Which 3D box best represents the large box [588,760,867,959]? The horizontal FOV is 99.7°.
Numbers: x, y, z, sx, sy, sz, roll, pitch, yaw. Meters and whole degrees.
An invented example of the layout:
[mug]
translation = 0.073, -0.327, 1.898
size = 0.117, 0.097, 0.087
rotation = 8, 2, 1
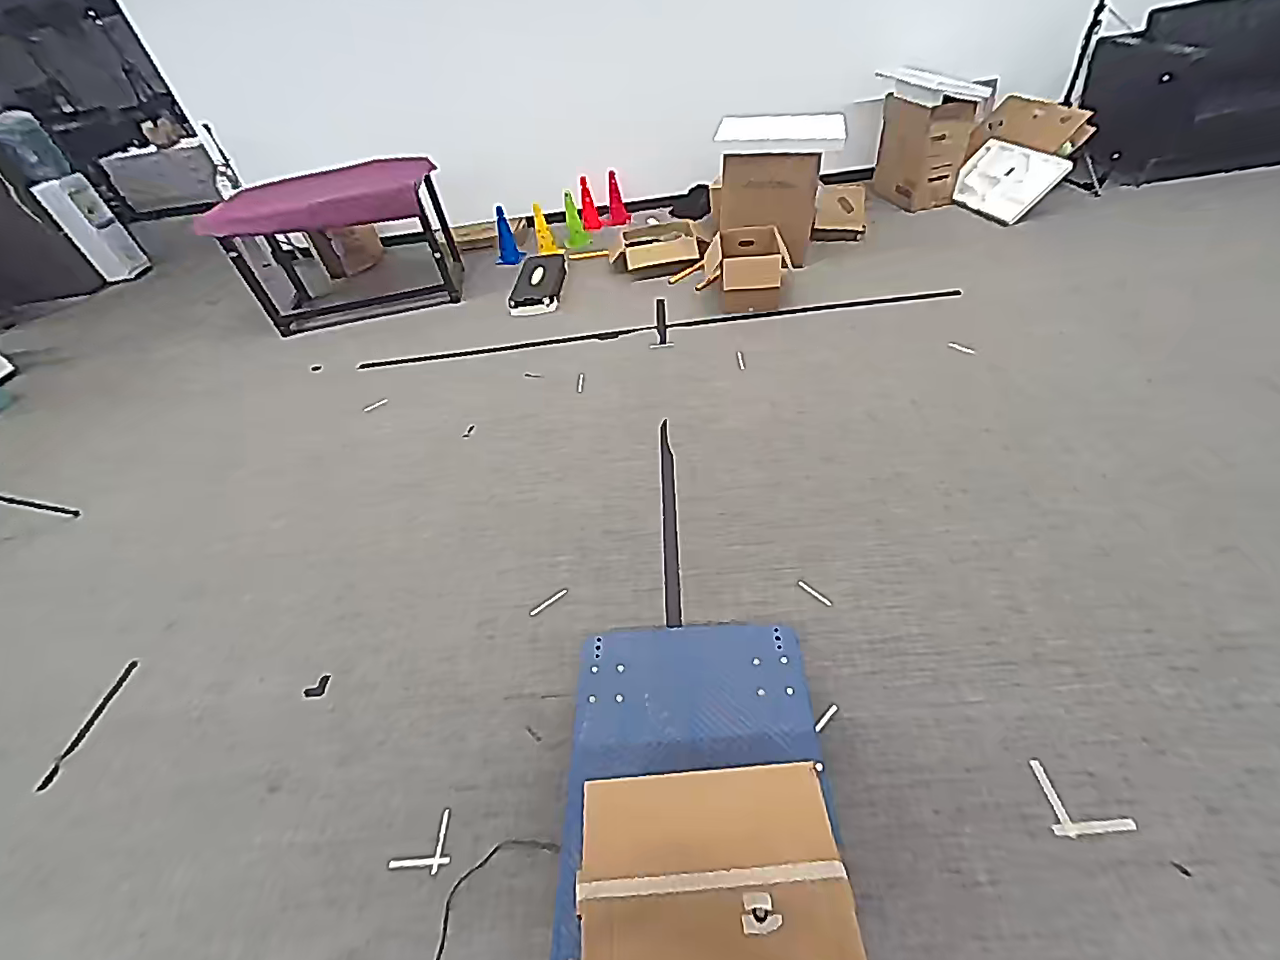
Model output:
[large box]
translation = 0.129, 0.729, 0.947
size = 0.408, 0.320, 0.320
rotation = -6, 44, 1
